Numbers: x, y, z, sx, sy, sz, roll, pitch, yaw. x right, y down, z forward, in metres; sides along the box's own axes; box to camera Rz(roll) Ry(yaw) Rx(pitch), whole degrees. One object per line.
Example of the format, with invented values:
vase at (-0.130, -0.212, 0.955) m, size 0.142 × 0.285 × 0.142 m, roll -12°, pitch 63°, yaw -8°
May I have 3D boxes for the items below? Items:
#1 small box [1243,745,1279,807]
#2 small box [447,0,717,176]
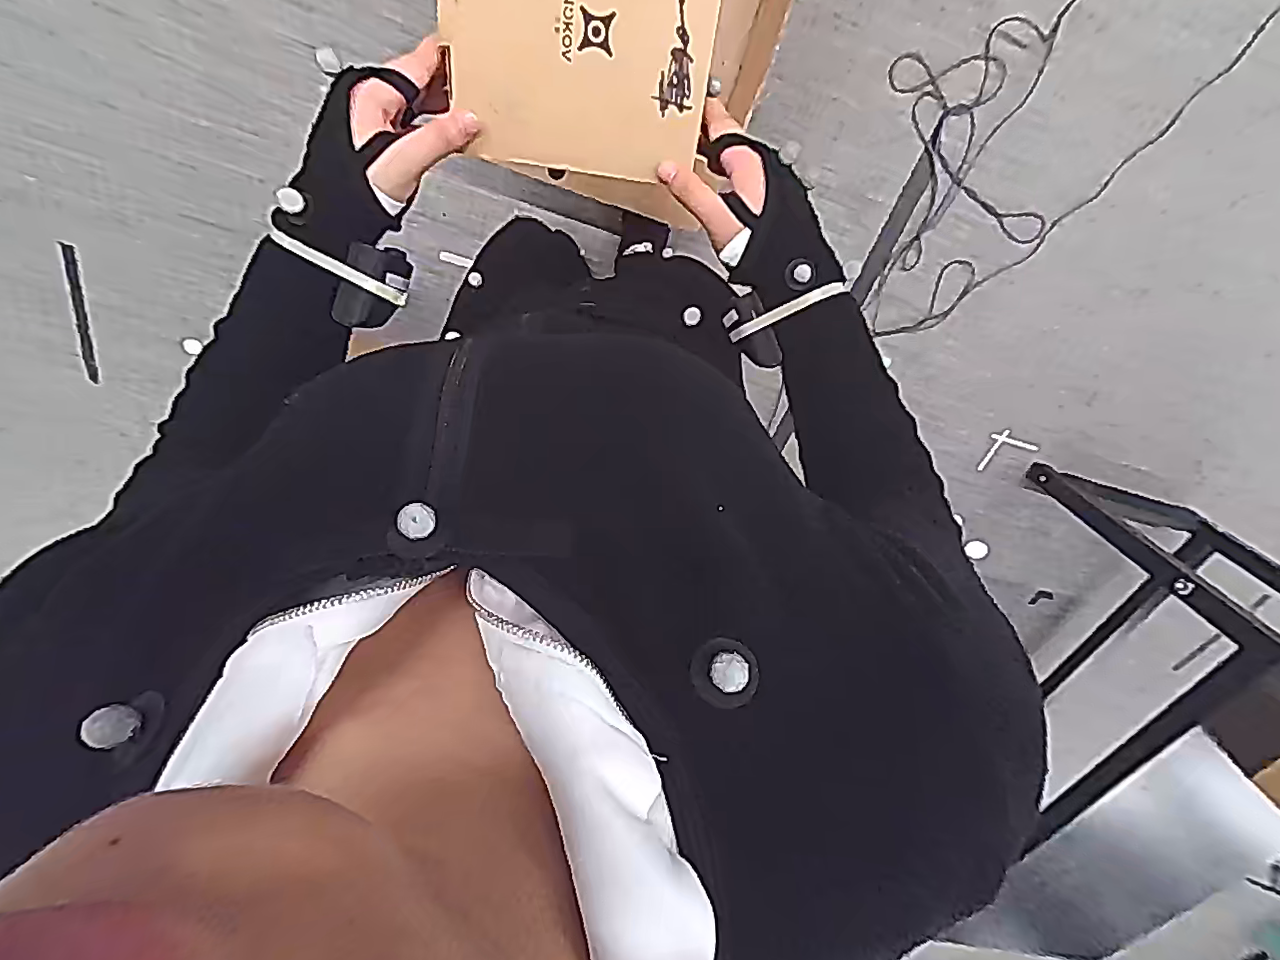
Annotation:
small box at (1.393, 0.616, 1.071) m, size 0.168 × 0.176 × 0.179 m, roll 17°, pitch 119°, yaw -10°
small box at (-0.042, -0.347, 0.421) m, size 0.179 × 0.176 × 0.168 m, roll 4°, pitch 123°, yaw -8°
